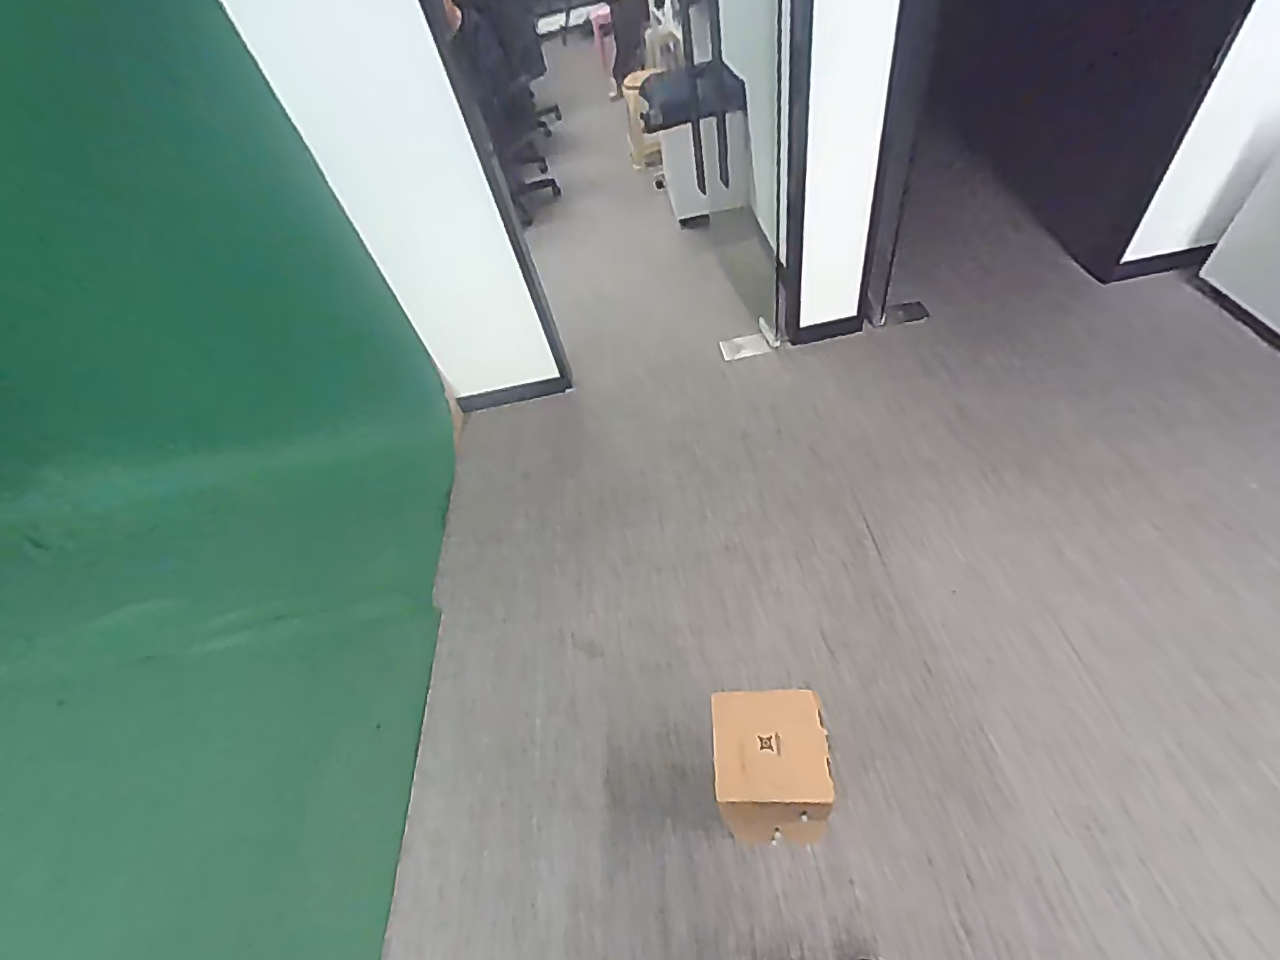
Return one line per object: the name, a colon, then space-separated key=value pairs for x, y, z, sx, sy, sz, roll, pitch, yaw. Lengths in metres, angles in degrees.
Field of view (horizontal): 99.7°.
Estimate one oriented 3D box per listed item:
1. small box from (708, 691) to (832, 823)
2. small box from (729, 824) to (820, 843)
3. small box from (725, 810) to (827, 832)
small box: x=0.214 y=0.470 z=0.914 sx=0.179 sy=0.176 sz=0.168 roll=-7 pitch=48 yaw=10
small box: x=0.279 y=0.671 z=1.162 sx=0.179 sy=0.176 sz=0.168 roll=-7 pitch=49 yaw=10
small box: x=0.247 y=0.571 z=1.040 sx=0.179 sy=0.176 sz=0.168 roll=-8 pitch=51 yaw=8
